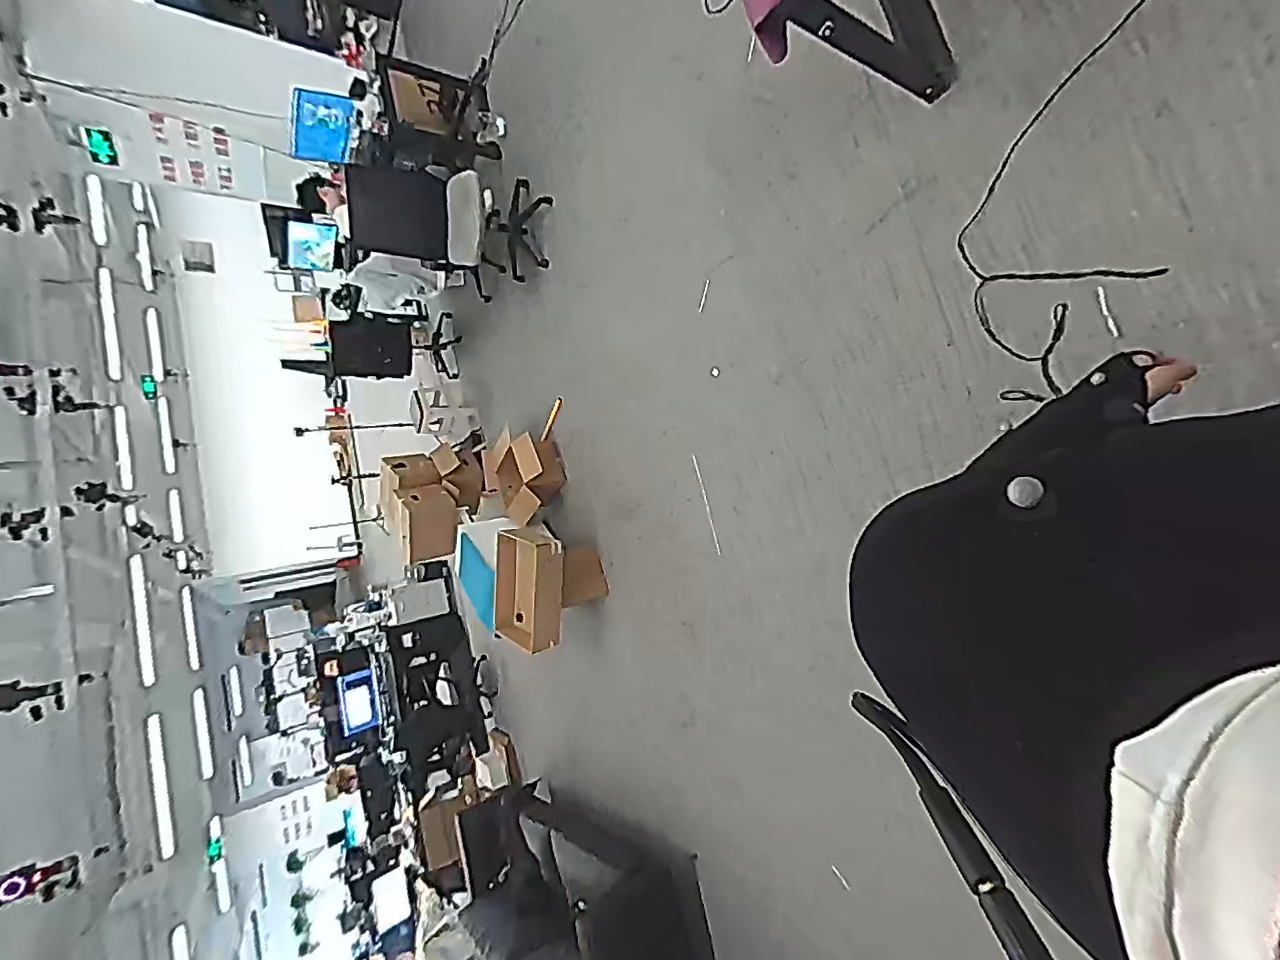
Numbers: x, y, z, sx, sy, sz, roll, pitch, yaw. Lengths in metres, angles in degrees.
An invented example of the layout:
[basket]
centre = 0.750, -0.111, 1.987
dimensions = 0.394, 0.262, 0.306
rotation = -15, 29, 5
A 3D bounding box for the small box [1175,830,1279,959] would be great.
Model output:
[small box]
centre = 1.266, 0.879, 1.131
dimensions = 0.168, 0.176, 0.179
rotation = -17, 84, 55
